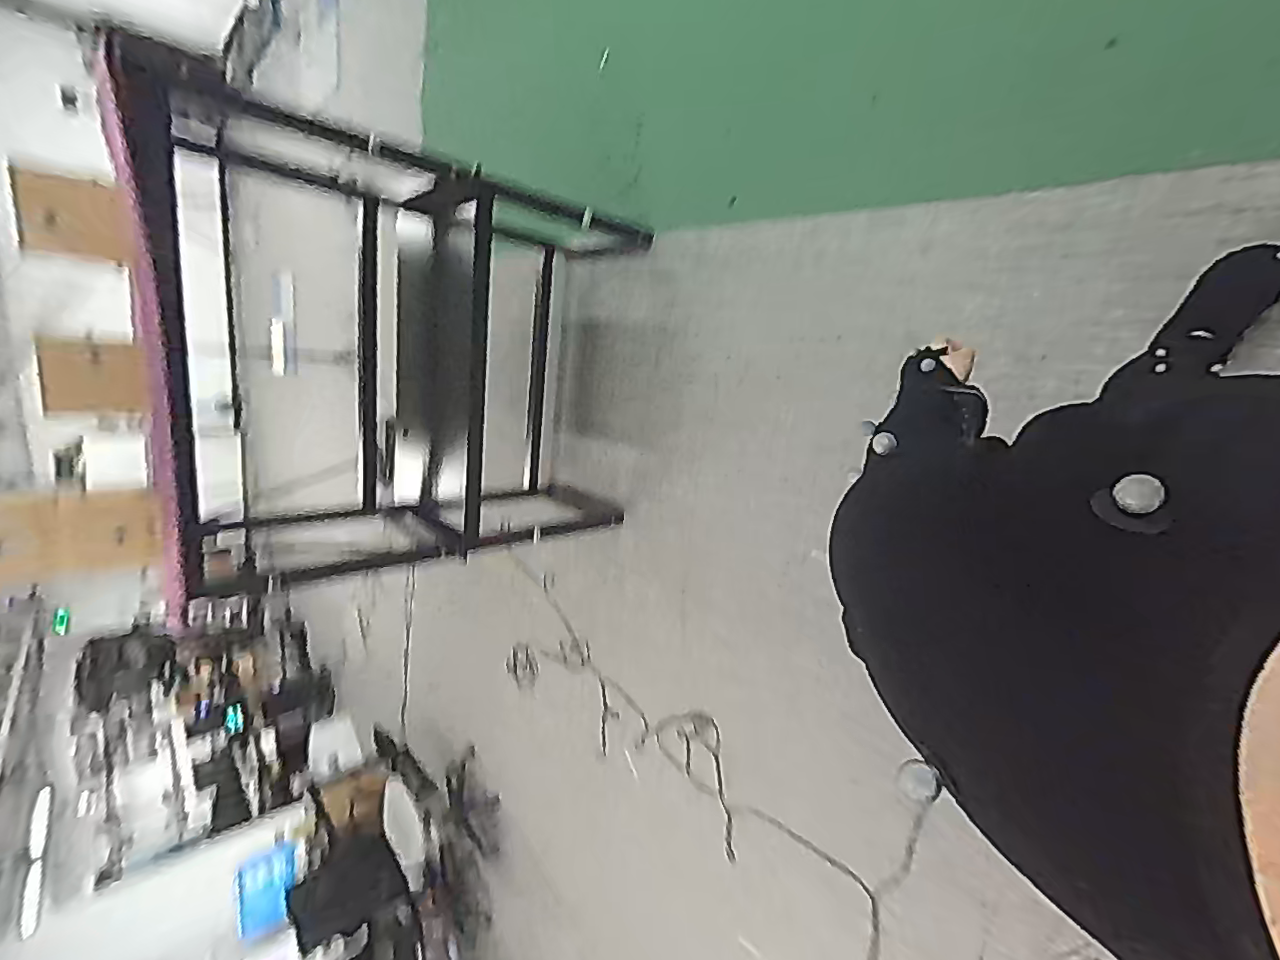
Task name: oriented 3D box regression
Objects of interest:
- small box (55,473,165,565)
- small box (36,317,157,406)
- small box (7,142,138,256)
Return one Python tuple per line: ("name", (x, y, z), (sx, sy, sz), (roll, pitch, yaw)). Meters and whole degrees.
("small box", (-1.208, 0.080, 1.241), (0.179, 0.176, 0.168), (15, 104, 44))
("small box", (-1.191, -0.259, 1.192), (0.168, 0.176, 0.179), (17, 107, 45))
("small box", (-1.178, -0.578, 1.138), (0.168, 0.176, 0.179), (22, 110, 45))
